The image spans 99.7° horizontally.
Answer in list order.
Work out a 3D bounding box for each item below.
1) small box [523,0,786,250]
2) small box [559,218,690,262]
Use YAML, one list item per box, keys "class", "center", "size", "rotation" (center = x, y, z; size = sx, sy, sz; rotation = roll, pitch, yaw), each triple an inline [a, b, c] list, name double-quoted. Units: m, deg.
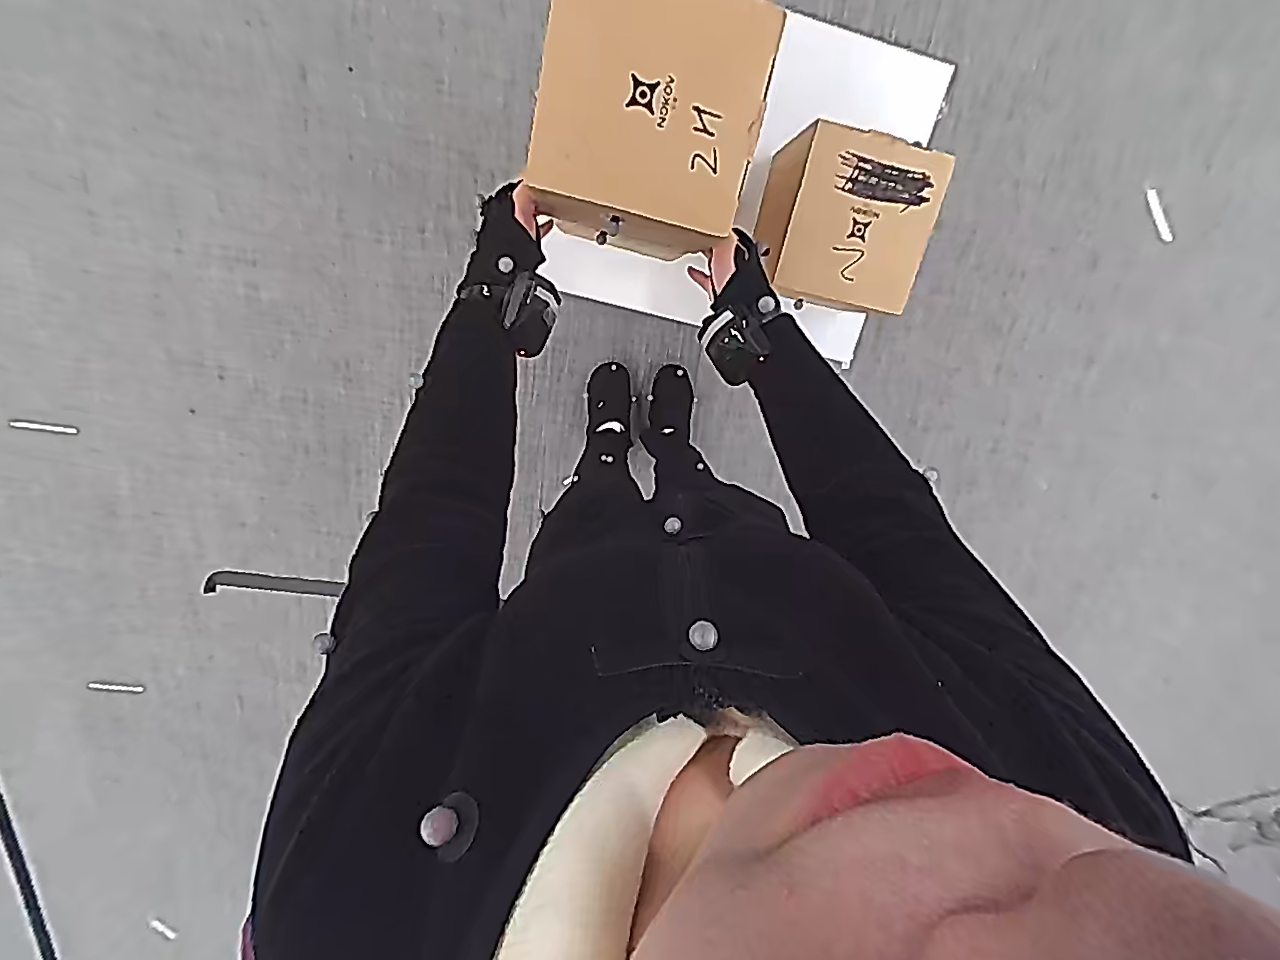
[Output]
- class: "small box"
  center: [0.003, -0.319, 0.495]
  size: [0.179, 0.176, 0.168]
  rotation: [11, 108, -9]
- class: "small box"
  center: [-0.007, -0.378, 0.651]
  size: [0.168, 0.176, 0.179]
  rotation: [13, 107, -7]
